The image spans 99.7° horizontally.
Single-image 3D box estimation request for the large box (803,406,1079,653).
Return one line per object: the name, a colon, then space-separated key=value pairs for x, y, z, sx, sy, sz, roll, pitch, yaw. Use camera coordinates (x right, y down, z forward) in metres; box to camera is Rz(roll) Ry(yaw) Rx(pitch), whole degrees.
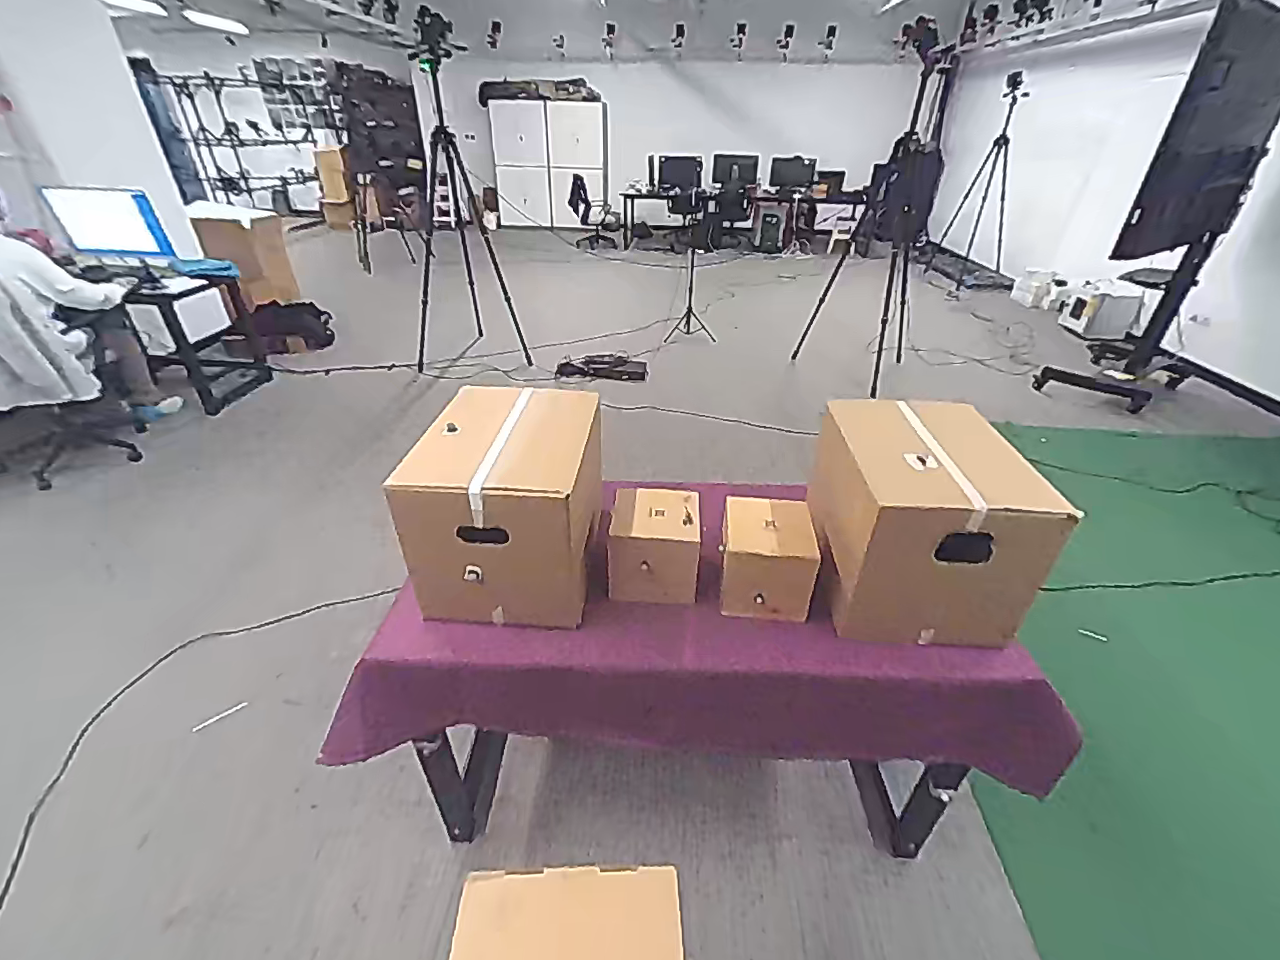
large box: x=0.547 y=0.082 z=1.100 sx=0.320 sy=0.320 sz=0.408 roll=3 pitch=34 yaw=3
